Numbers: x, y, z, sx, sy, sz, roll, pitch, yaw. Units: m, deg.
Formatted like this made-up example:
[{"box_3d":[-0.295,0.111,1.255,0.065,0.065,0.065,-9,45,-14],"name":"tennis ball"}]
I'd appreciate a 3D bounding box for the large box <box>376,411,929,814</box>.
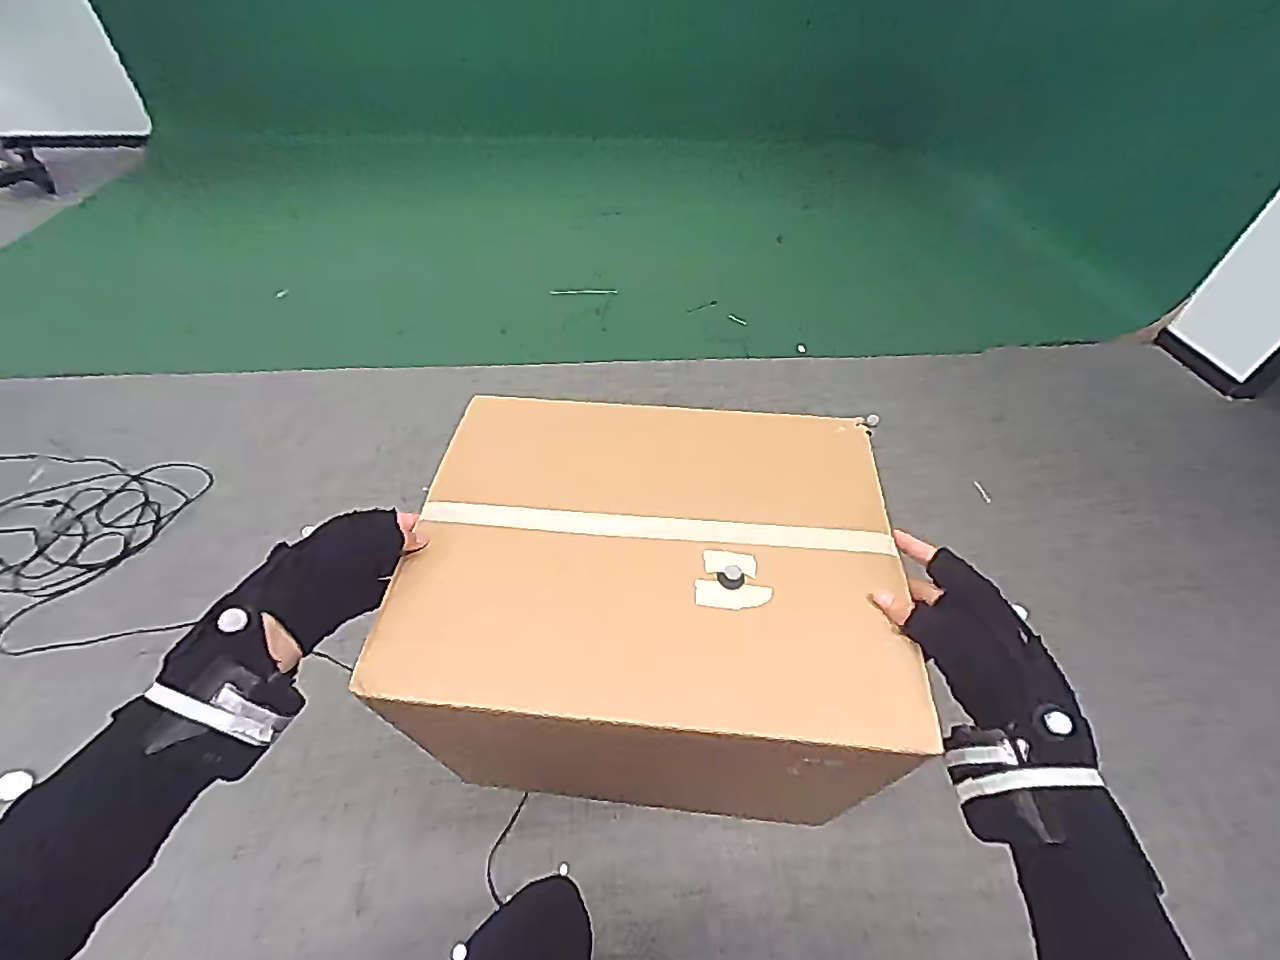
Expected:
[{"box_3d":[0.015,0.146,0.589,0.408,0.320,0.320,4,51,4],"name":"large box"}]
